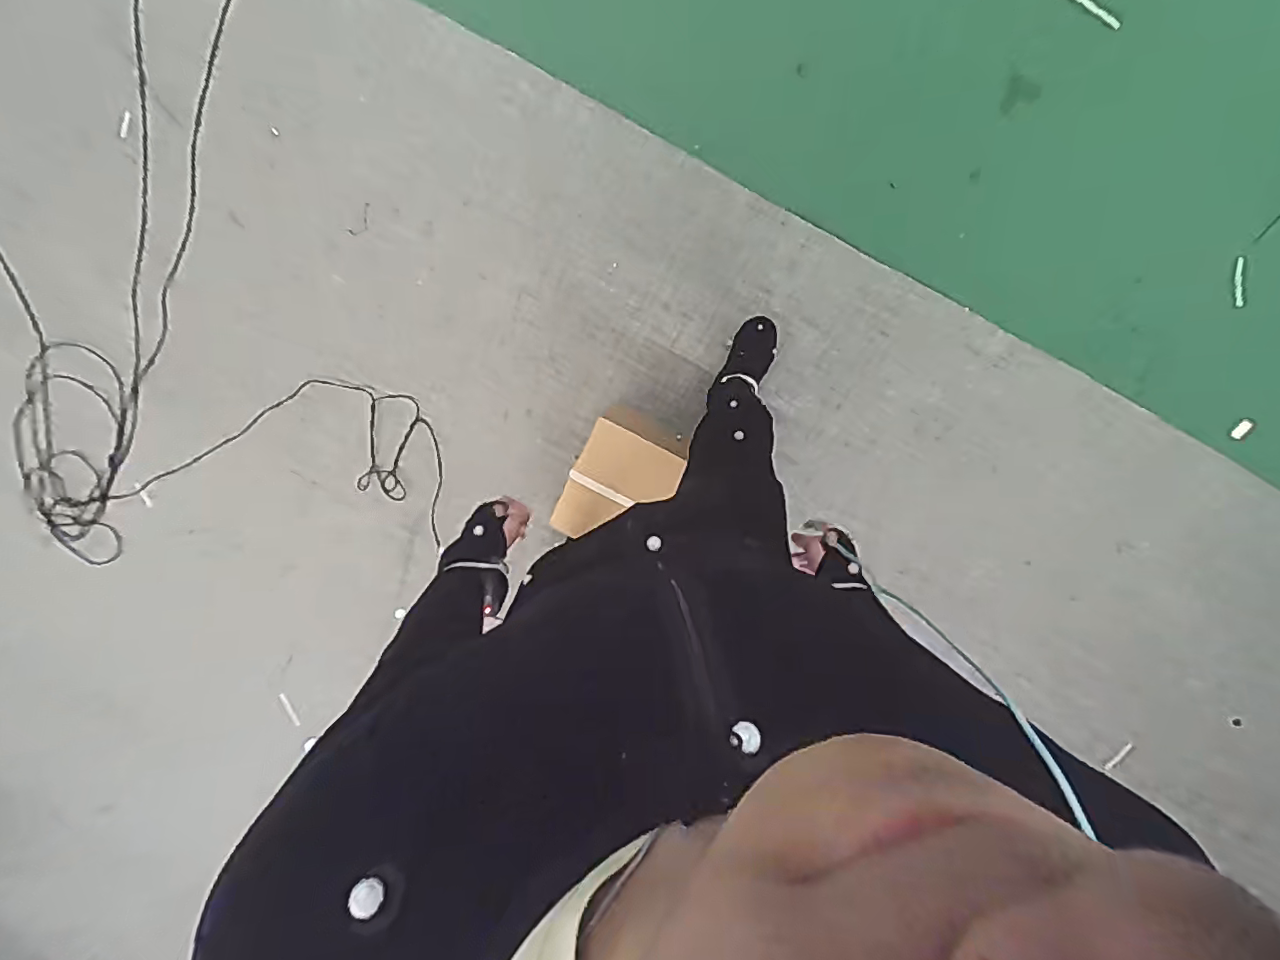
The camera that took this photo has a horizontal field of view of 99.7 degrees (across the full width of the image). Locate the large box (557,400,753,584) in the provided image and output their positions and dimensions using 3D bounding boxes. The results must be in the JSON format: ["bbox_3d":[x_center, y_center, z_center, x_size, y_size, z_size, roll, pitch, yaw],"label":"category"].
[{"bbox_3d":[0.040,0.013,1.461,0.408,0.320,0.320,26,106,-2],"label":"large box"}]
